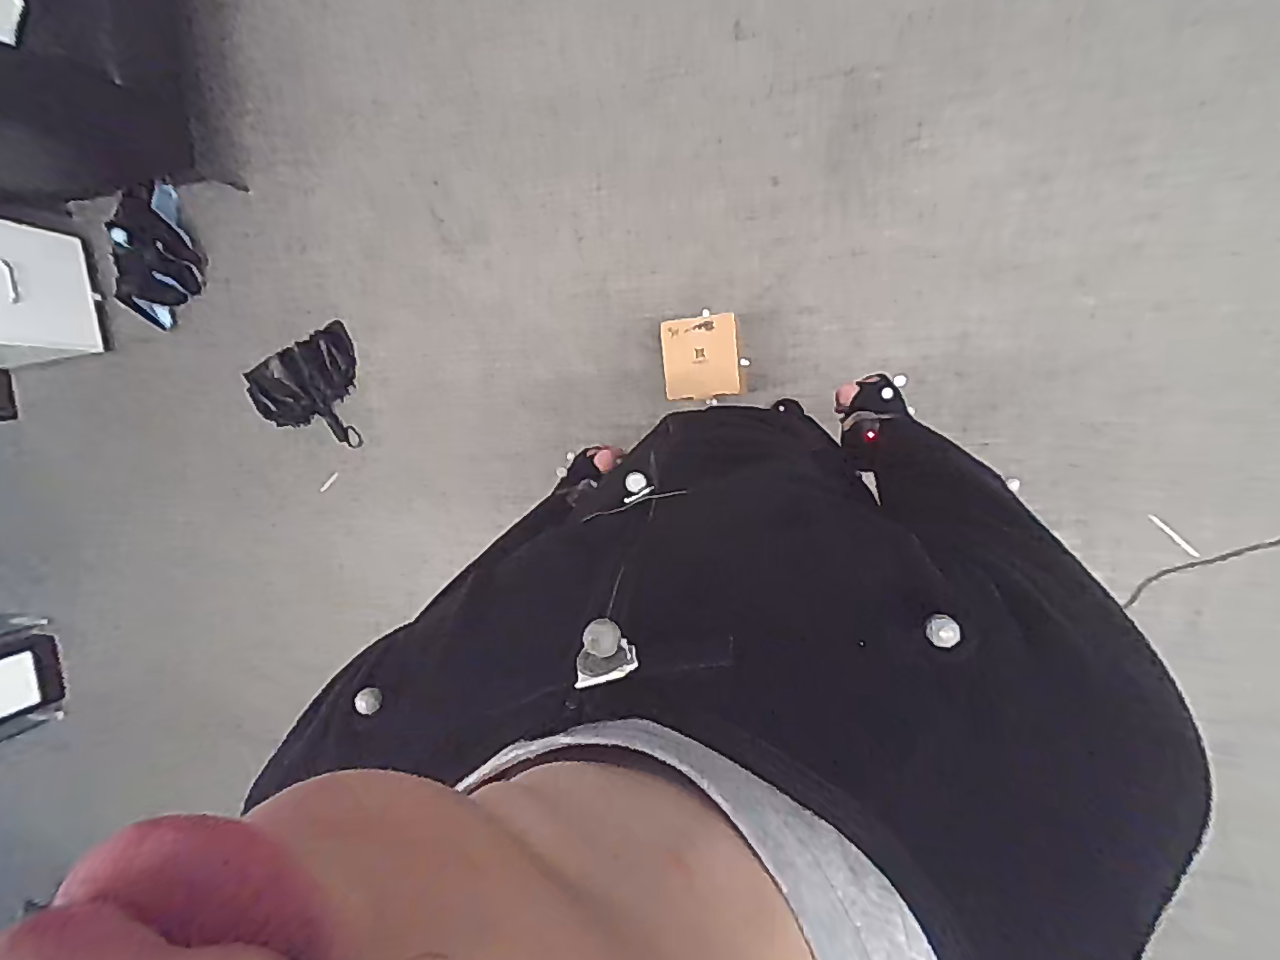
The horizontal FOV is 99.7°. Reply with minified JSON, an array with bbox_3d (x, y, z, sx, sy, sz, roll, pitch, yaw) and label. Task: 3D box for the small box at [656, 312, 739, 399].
[{"bbox_3d":[0.141,-0.286,1.271,0.168,0.176,0.179,-3,98,15],"label":"small box"}]
